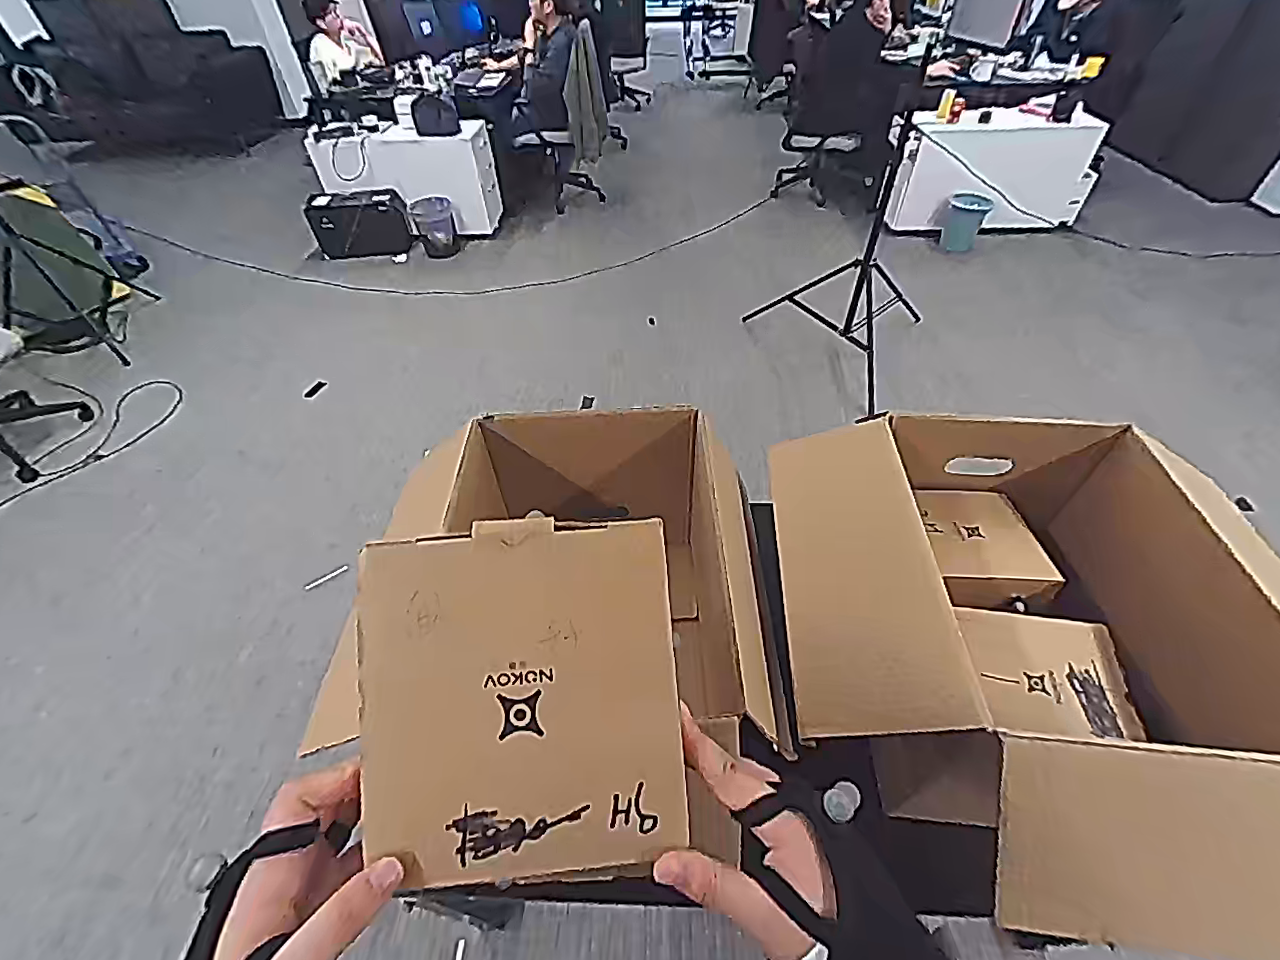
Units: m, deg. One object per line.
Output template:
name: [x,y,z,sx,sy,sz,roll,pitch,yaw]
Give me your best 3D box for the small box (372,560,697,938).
small box: [-0.062,0.149,0.365,0.168,0.176,0.179,-4,82,-3]
